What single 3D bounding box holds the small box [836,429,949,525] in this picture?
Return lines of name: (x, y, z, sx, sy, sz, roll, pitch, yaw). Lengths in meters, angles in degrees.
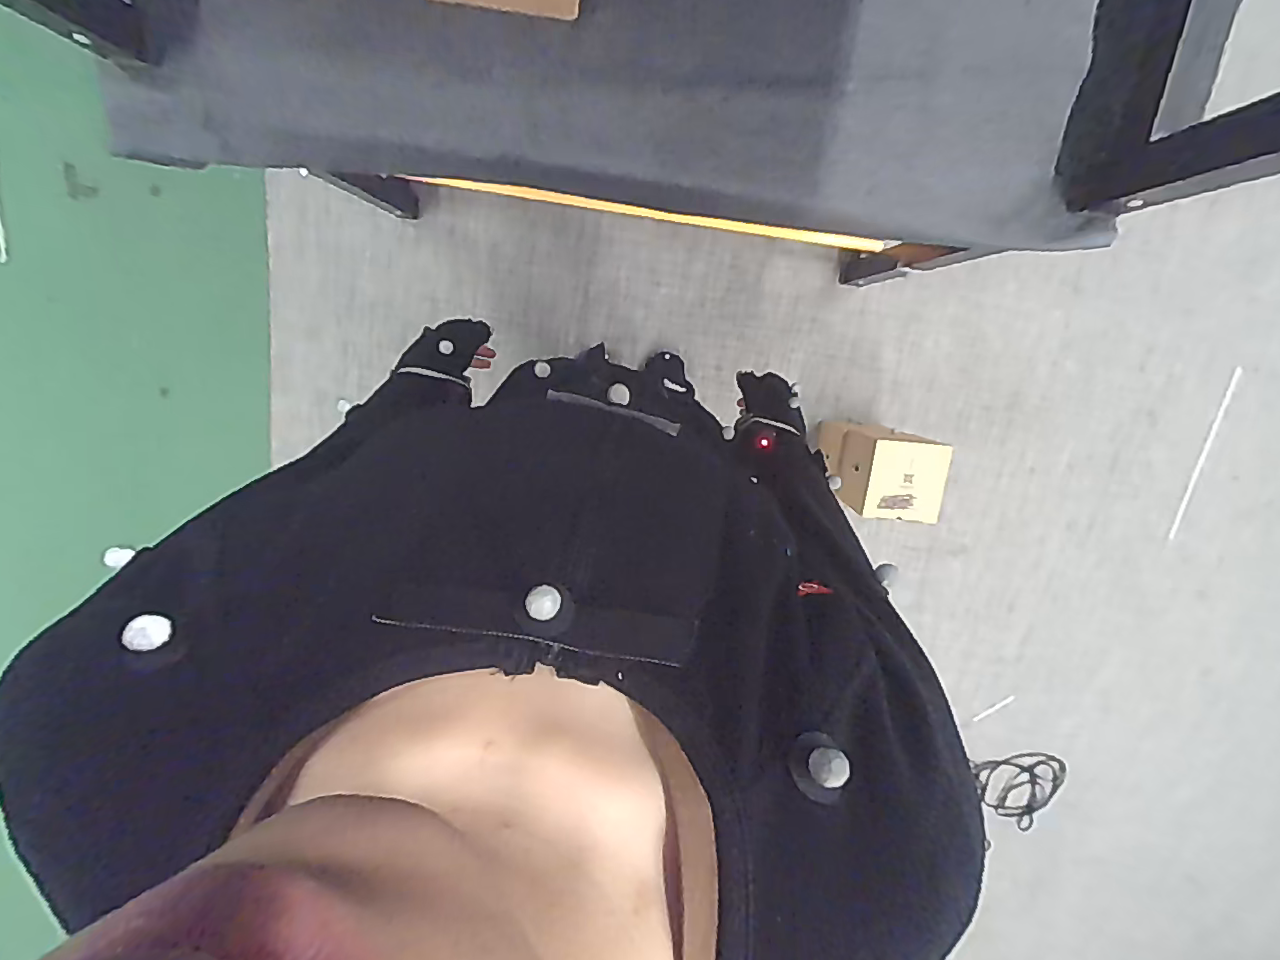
small box: (0.565, -0.013, 1.234, 0.168, 0.176, 0.179, 5, 103, -1)
